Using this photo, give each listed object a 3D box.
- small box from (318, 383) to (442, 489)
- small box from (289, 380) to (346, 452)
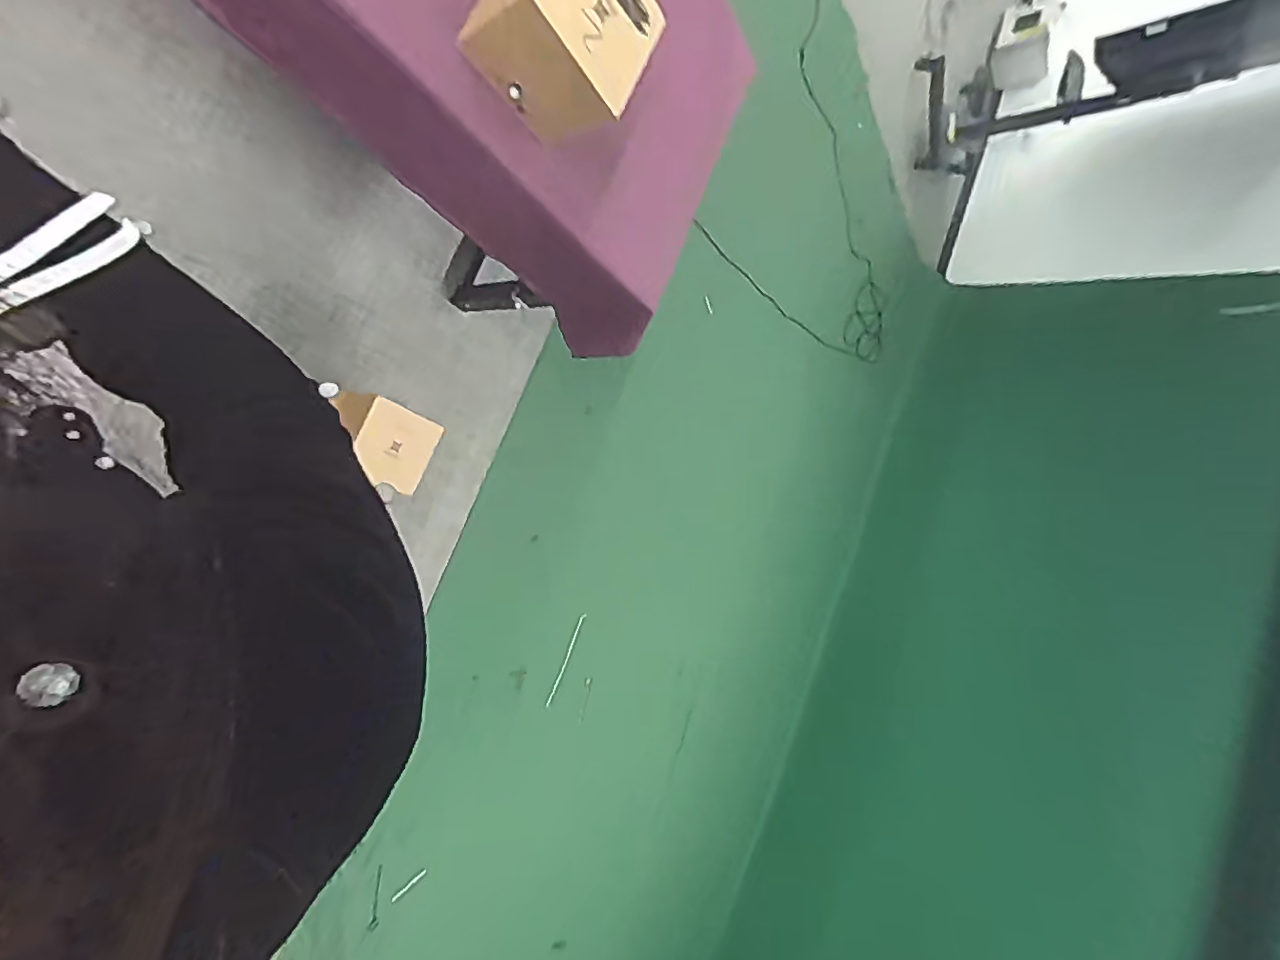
[{"bbox_3d":[-0.586,-0.101,1.209,0.168,0.176,0.179,31,77,-49],"label":"small box"},{"bbox_3d":[-0.710,-0.135,1.309,0.179,0.176,0.168,27,81,-49],"label":"small box"}]
